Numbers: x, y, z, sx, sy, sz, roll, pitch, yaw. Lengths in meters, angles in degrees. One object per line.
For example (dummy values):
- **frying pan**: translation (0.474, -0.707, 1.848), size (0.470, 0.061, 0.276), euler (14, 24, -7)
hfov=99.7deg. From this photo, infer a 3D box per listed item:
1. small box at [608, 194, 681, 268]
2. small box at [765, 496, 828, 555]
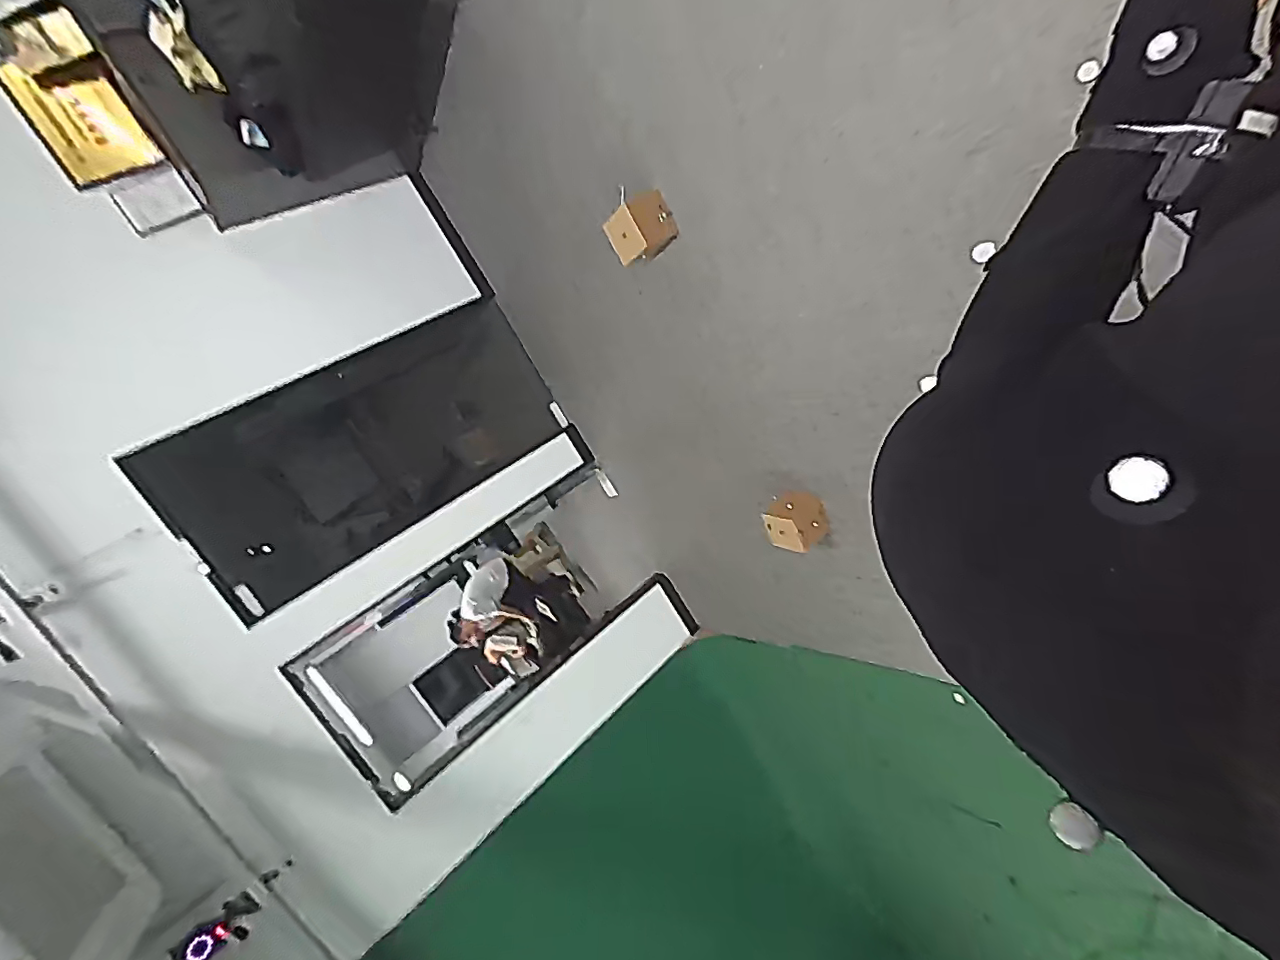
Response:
- **small box**: translation (0.018, -0.912, 1.983), size (0.168, 0.176, 0.179), euler (59, 152, -11)
- **small box**: translation (0.650, 0.180, 2.219), size (0.179, 0.176, 0.168), euler (9, 129, 55)
